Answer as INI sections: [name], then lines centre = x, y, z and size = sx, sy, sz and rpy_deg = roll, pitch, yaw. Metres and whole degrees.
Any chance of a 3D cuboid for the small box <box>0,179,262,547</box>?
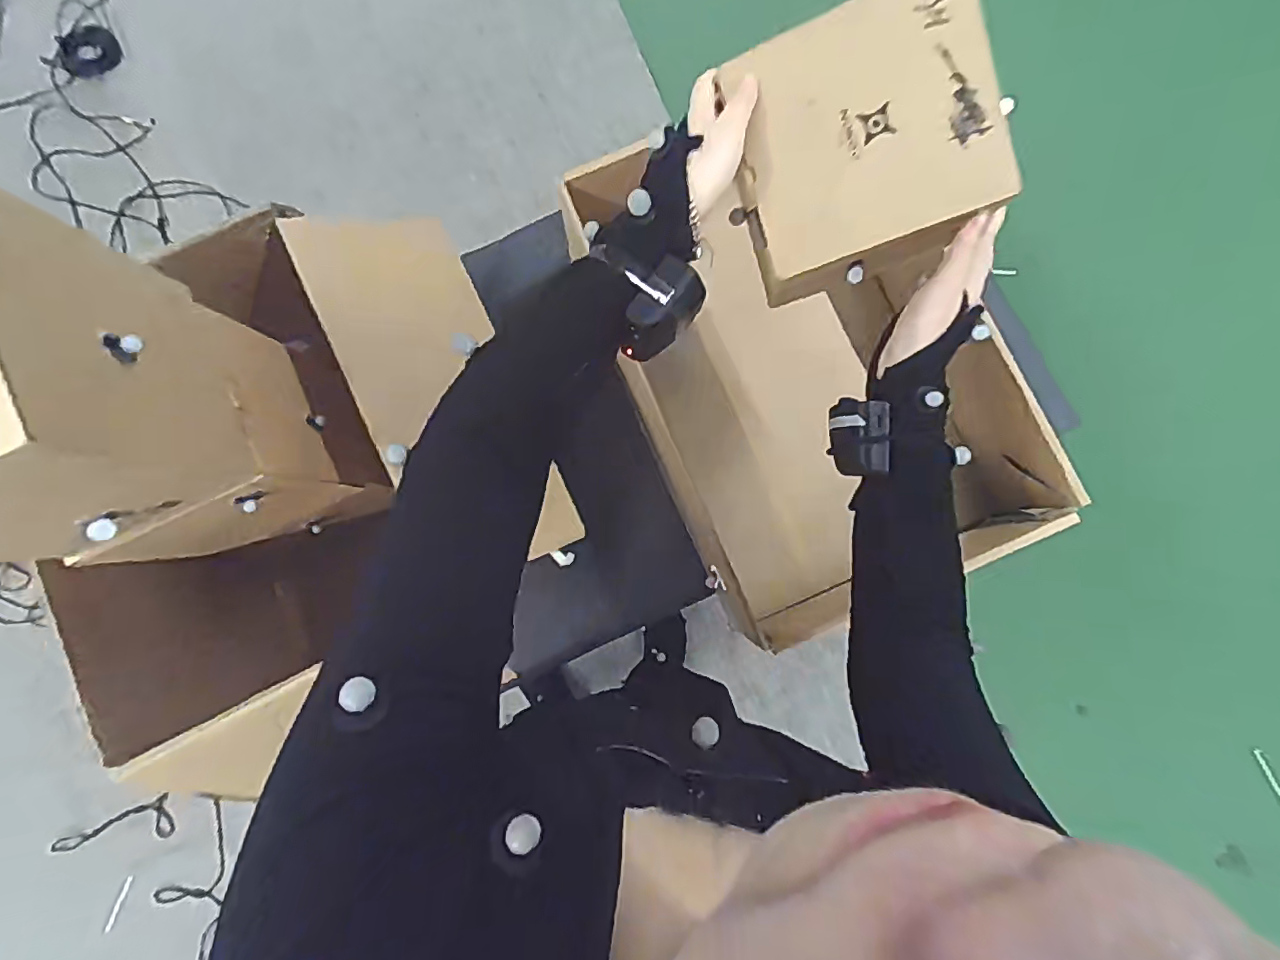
[small box]
centre = -0.411, -0.060, 0.366
size = 0.168, 0.176, 0.179
rpy_deg = -24, 86, -1
